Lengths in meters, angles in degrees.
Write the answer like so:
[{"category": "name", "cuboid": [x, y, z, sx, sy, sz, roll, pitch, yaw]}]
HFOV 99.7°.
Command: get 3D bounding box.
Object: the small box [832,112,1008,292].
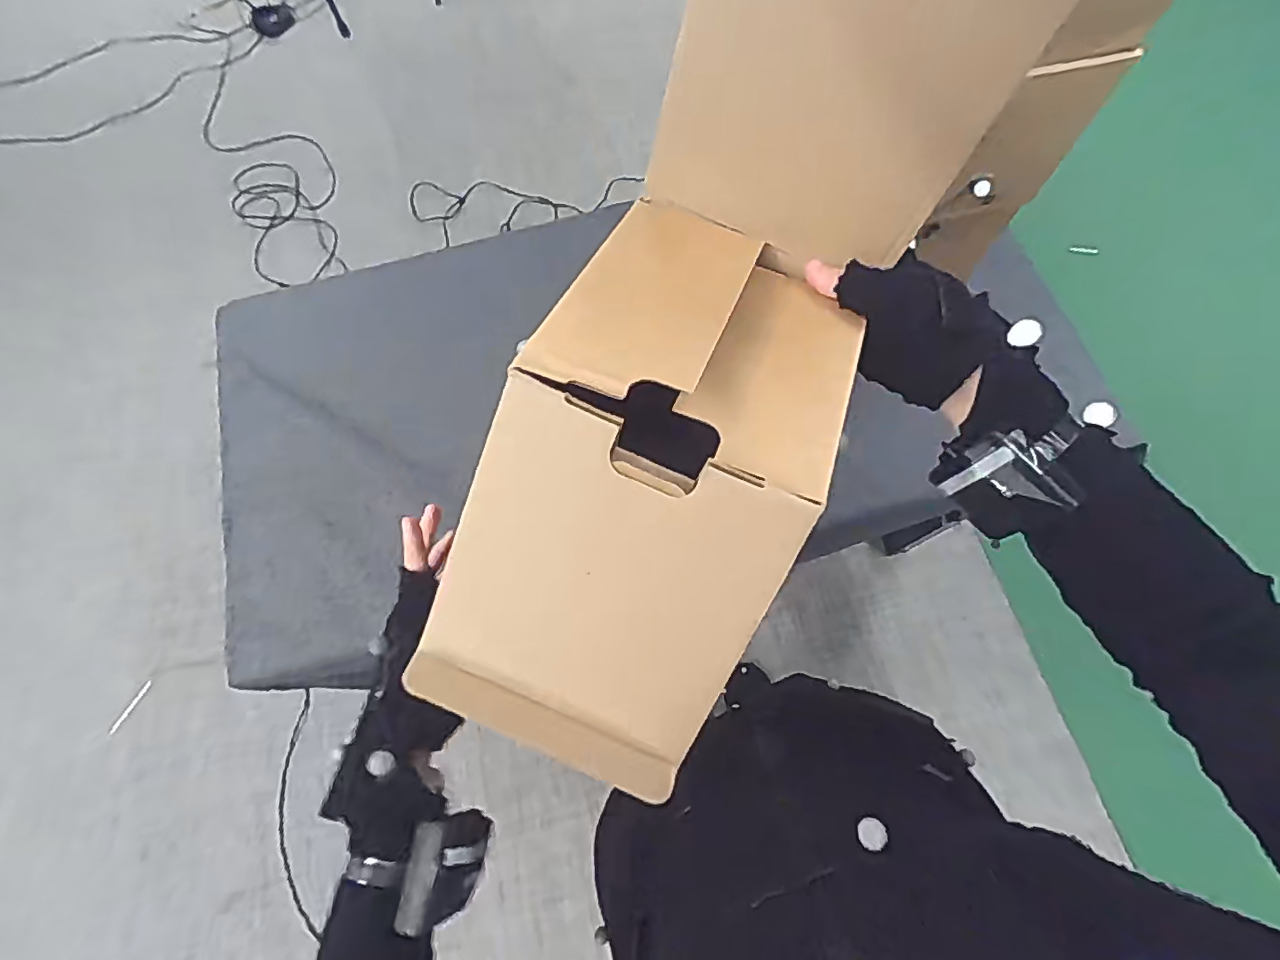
[{"category": "small box", "cuboid": [0.375, -0.378, 0.742, 0.179, 0.176, 0.168, -3, 71, 3]}]
